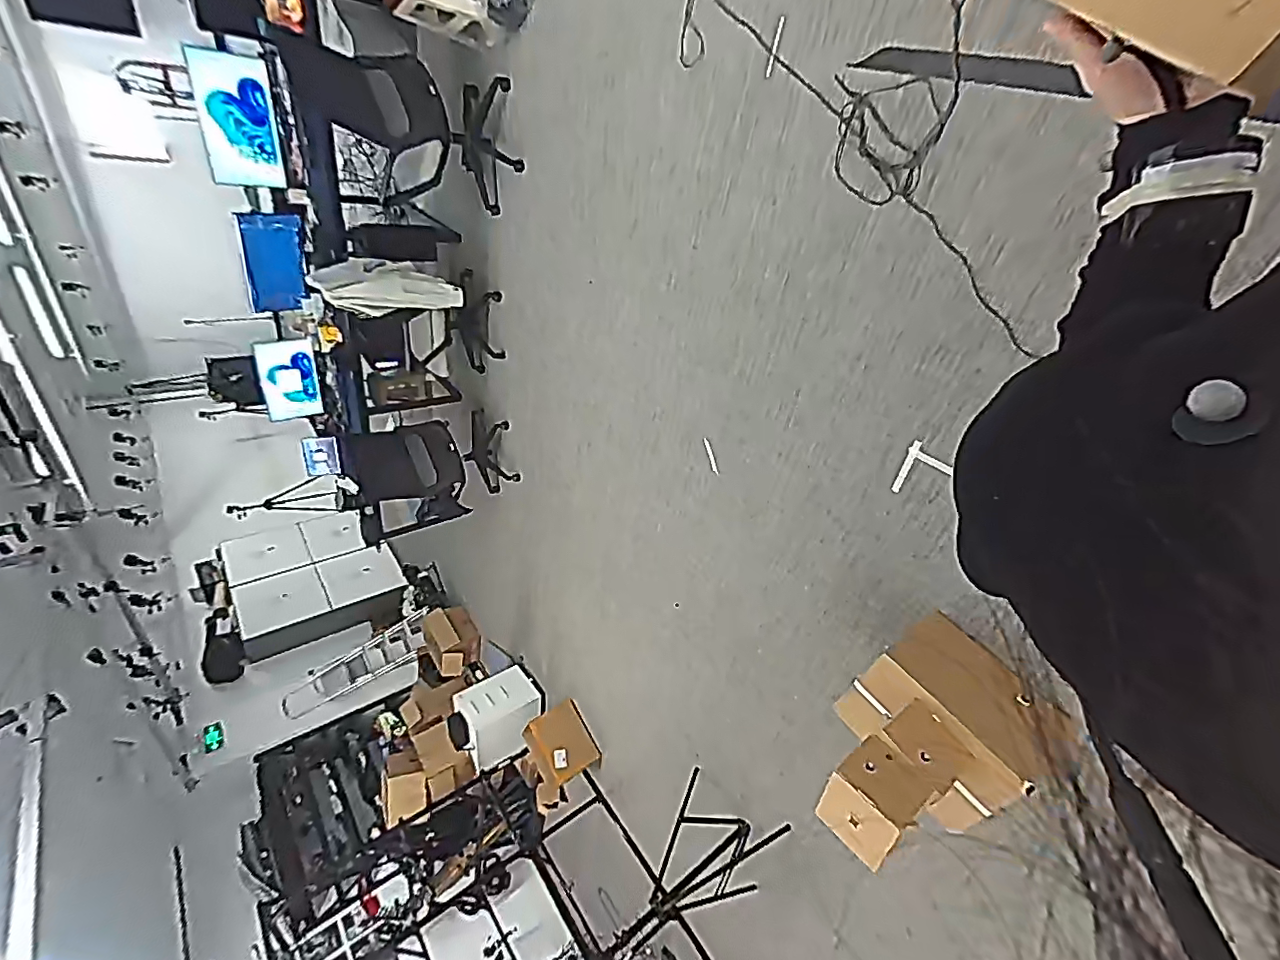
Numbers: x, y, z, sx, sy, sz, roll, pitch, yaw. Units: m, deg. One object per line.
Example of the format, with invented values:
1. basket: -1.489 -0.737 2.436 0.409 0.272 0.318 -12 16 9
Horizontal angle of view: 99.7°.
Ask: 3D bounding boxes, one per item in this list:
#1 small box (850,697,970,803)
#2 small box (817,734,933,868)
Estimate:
1. small box: 0.675 0.683 1.349 0.179 0.176 0.168 49 138 30
2. small box: 0.549 0.738 1.260 0.168 0.176 0.179 35 131 41
